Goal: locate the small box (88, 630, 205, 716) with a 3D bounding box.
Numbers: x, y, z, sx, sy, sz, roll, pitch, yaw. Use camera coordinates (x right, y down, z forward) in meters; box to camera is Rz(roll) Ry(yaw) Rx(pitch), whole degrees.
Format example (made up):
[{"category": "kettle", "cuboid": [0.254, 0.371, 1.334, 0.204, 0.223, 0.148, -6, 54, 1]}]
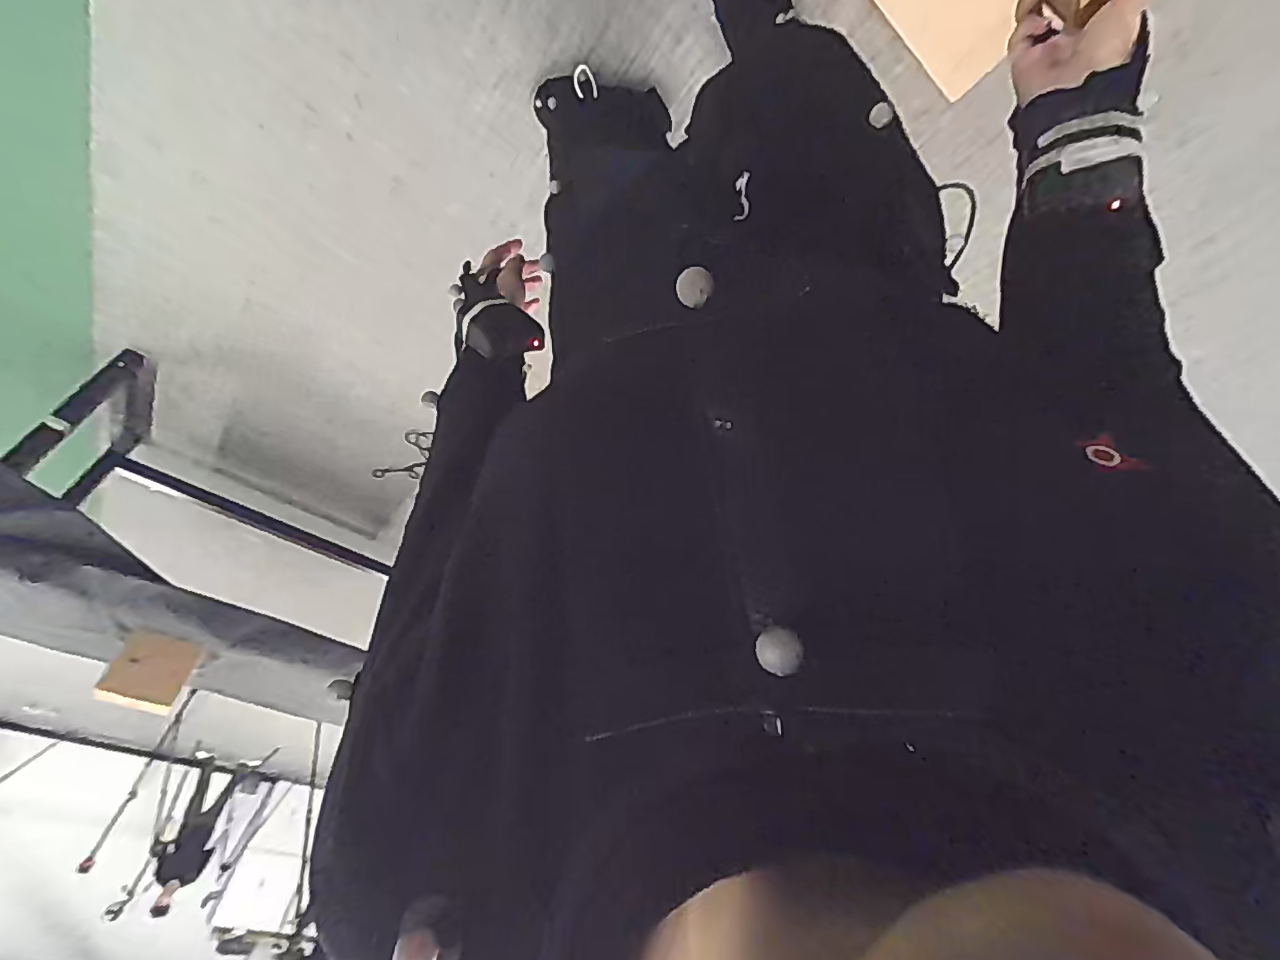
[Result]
[{"category": "small box", "cuboid": [-1.349, 0.526, 1.483, 0.179, 0.176, 0.168, 30, 137, -26]}]
